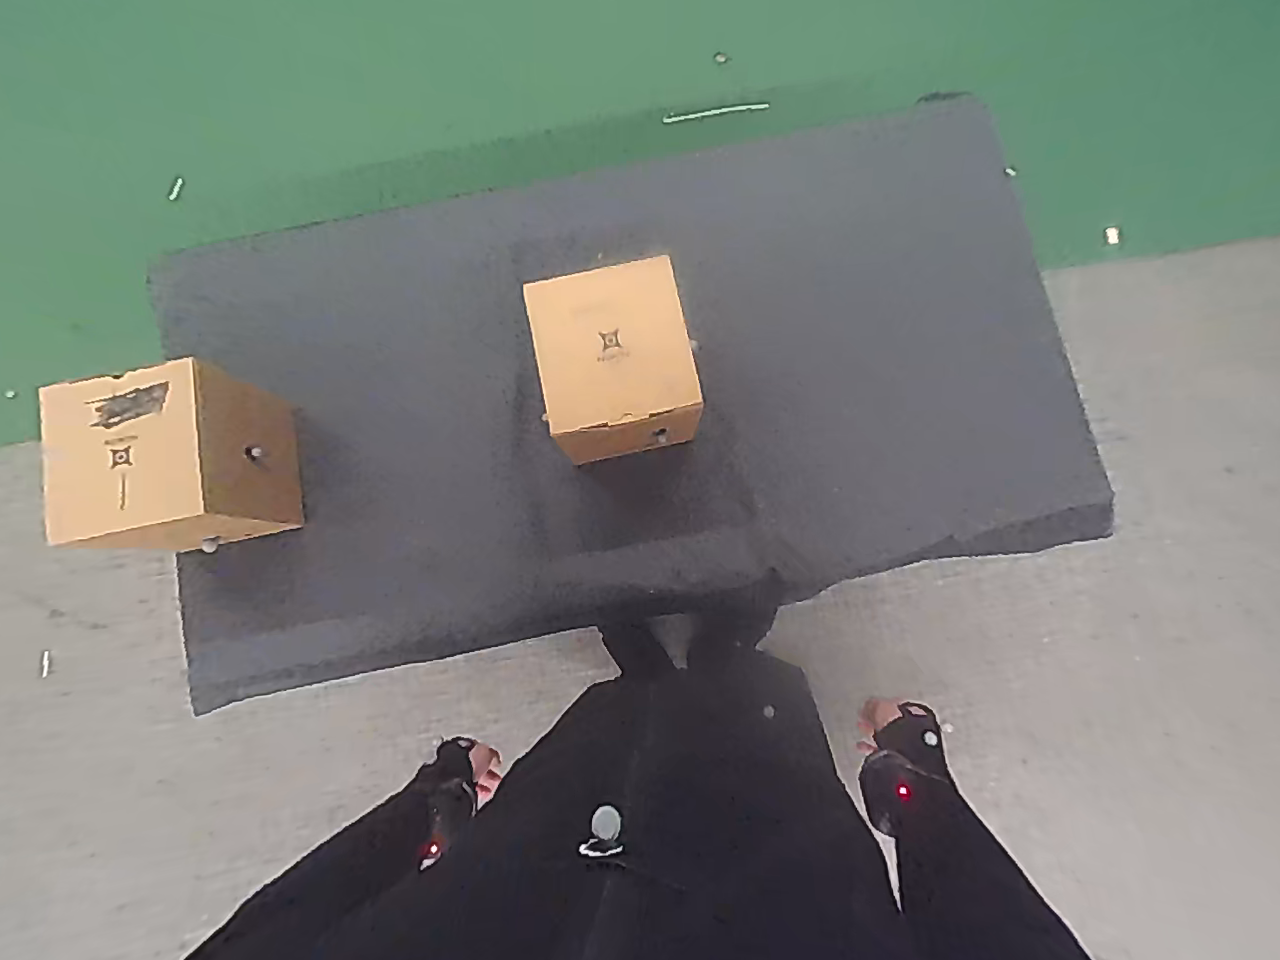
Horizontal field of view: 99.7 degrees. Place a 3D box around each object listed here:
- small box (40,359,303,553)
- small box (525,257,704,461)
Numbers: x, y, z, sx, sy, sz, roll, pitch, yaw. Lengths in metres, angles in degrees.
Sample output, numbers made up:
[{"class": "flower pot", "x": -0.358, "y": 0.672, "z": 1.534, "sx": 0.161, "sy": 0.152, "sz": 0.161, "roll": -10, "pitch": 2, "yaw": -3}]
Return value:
[{"class": "small box", "x": -0.532, "y": -0.017, "z": 0.637, "sx": 0.168, "sy": 0.176, "sz": 0.179, "roll": -12, "pitch": 80, "yaw": -1}, {"class": "small box", "x": -0.026, "y": -0.129, "z": 0.648, "sx": 0.168, "sy": 0.176, "sz": 0.179, "roll": -12, "pitch": 79, "yaw": -2}]
